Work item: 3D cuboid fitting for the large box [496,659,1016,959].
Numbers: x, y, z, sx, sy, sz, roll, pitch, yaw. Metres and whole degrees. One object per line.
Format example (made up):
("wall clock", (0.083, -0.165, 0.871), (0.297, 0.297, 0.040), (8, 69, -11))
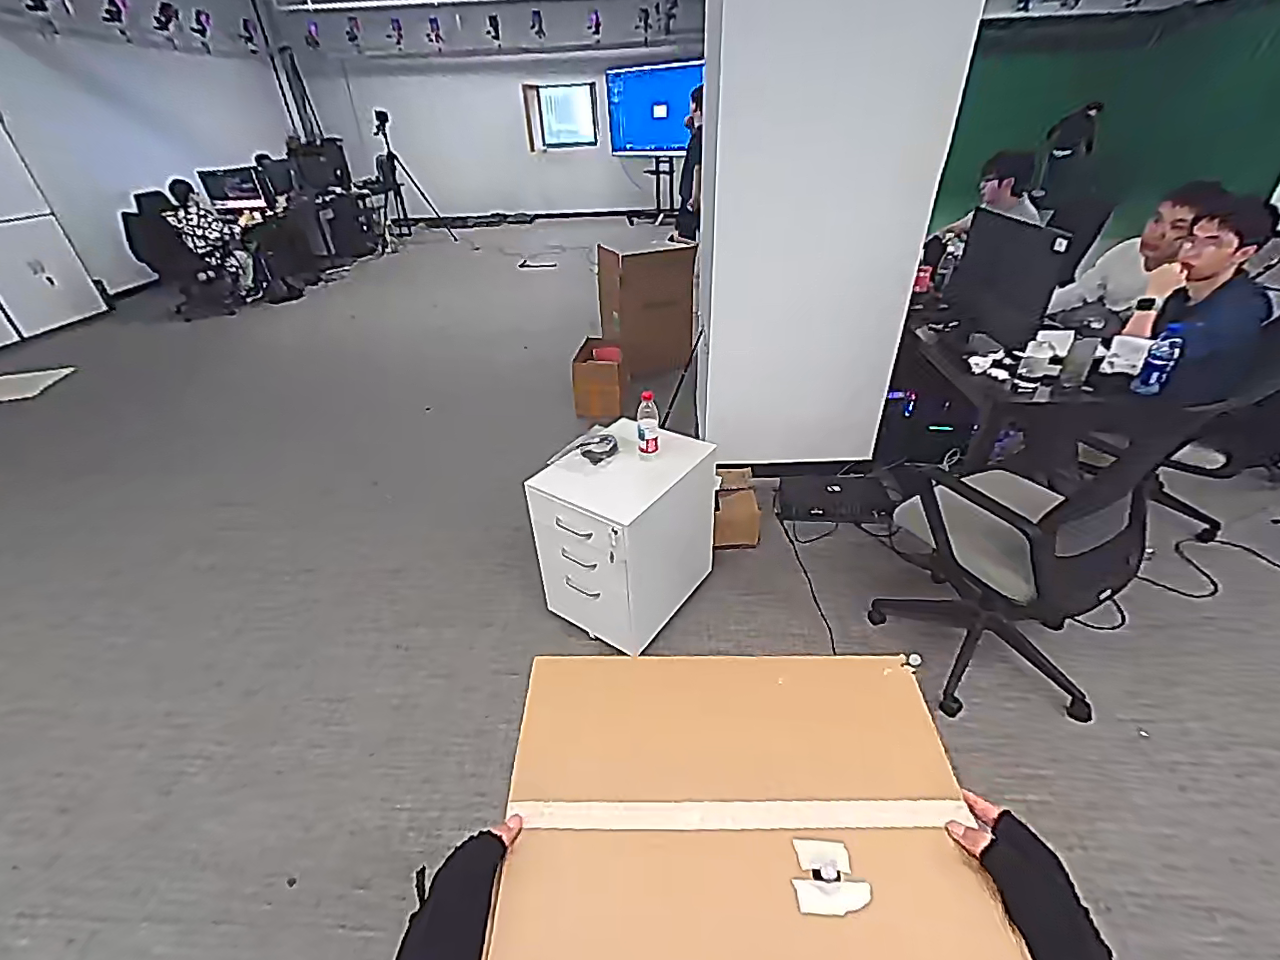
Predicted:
("large box", (0.088, 0.413, 0.582), (0.408, 0.320, 0.320), (0, 41, 1))
